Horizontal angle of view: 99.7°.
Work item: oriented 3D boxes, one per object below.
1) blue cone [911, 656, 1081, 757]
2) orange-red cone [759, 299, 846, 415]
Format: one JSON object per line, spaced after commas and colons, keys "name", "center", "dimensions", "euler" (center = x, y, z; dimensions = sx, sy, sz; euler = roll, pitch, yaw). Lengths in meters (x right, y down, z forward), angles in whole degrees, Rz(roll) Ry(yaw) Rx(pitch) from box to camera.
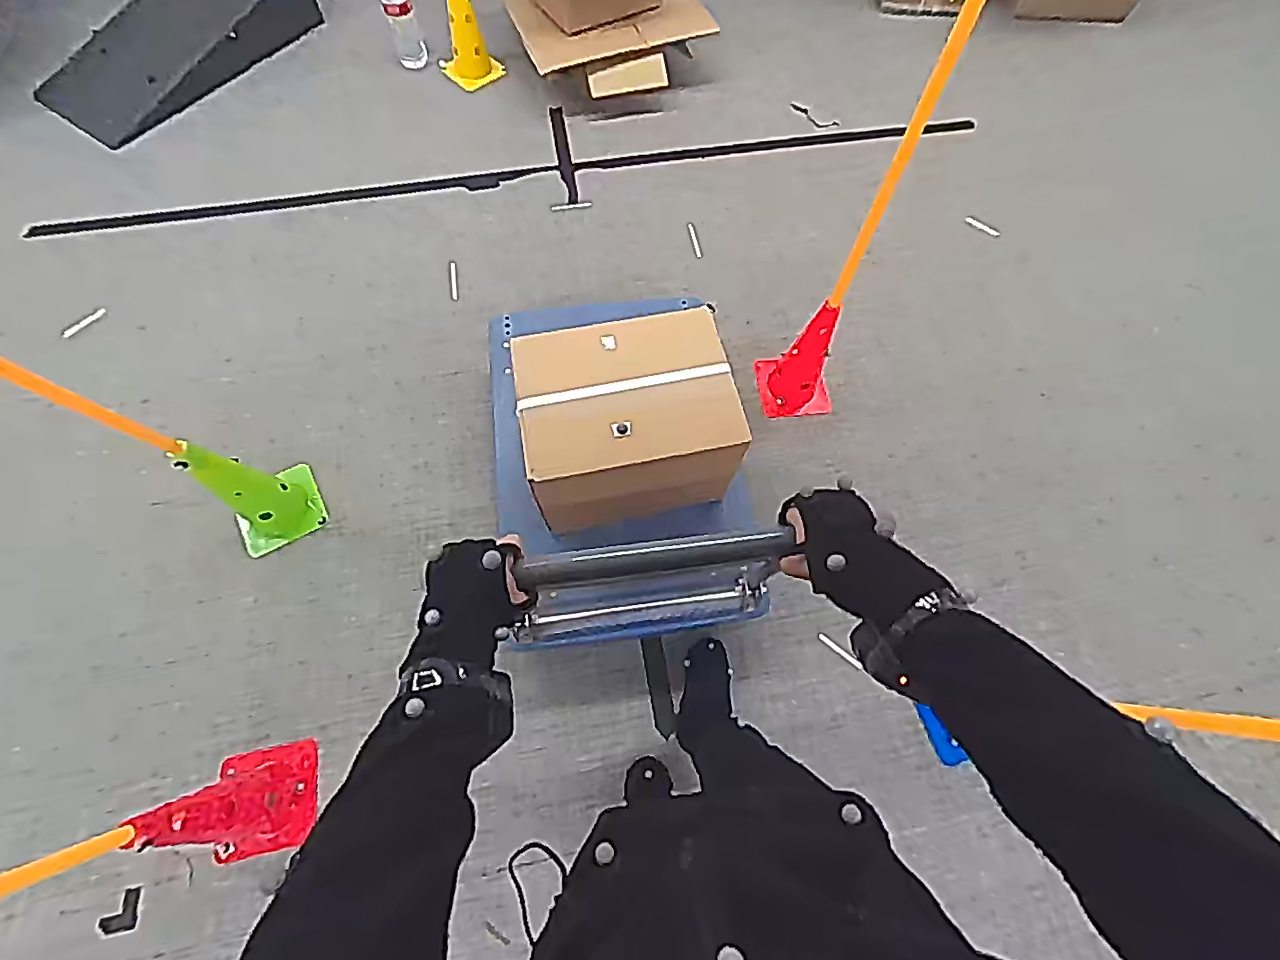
{"name": "blue cone", "center": [0.752, 0.459, 1.108], "dimensions": [0.193, 0.380, 0.192], "euler": [-13, 67, -8]}
{"name": "orange-red cone", "center": [0.460, -0.343, 1.426], "dimensions": [0.199, 0.360, 0.198], "euler": [-3, 68, -4]}
